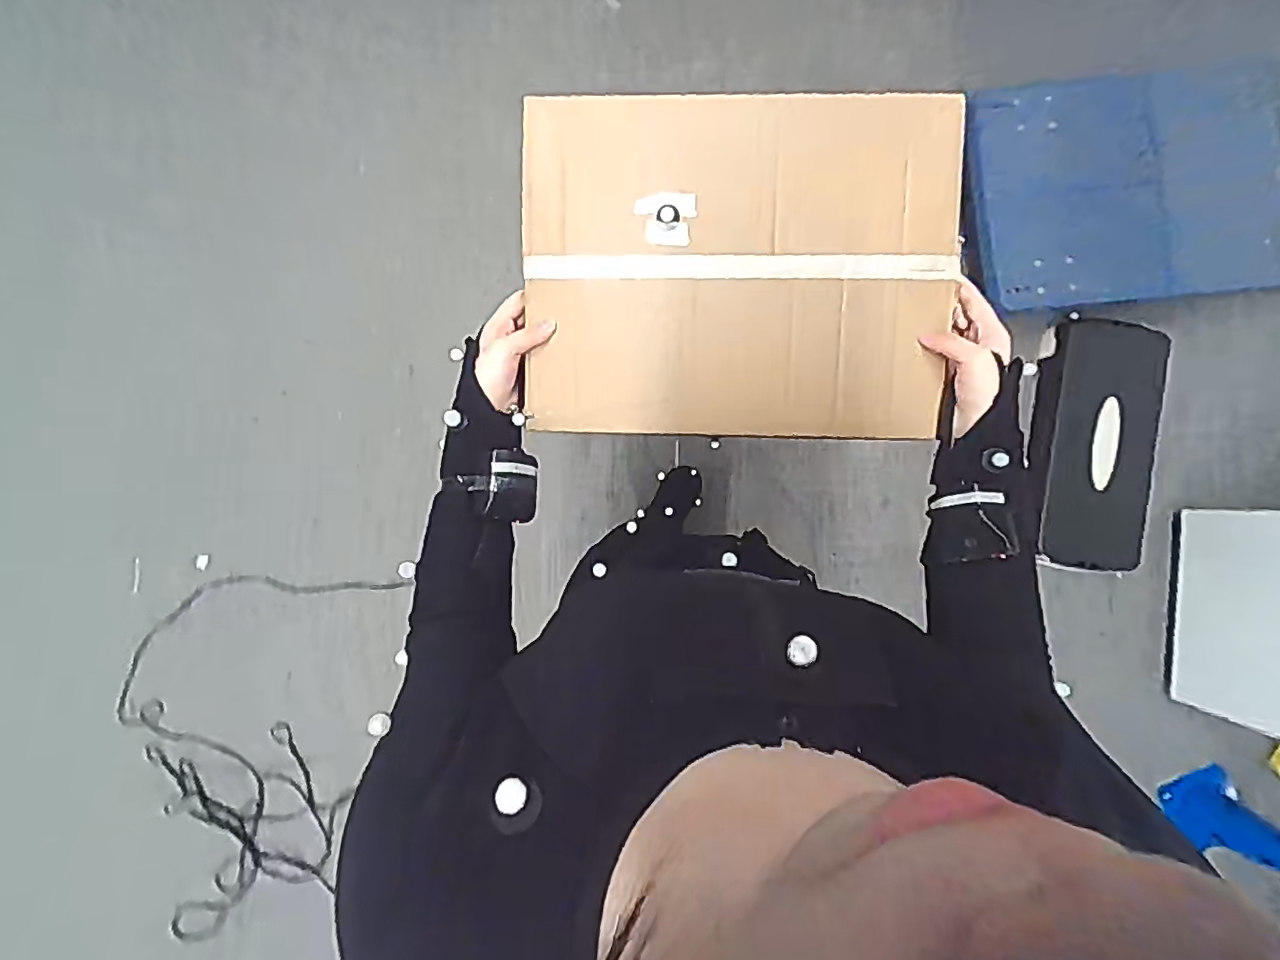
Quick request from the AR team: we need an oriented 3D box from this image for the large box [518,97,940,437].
[{"bbox_3d":[0.093,-0.215,0.673,0.408,0.320,0.320,0,95,4],"label":"large box"}]
